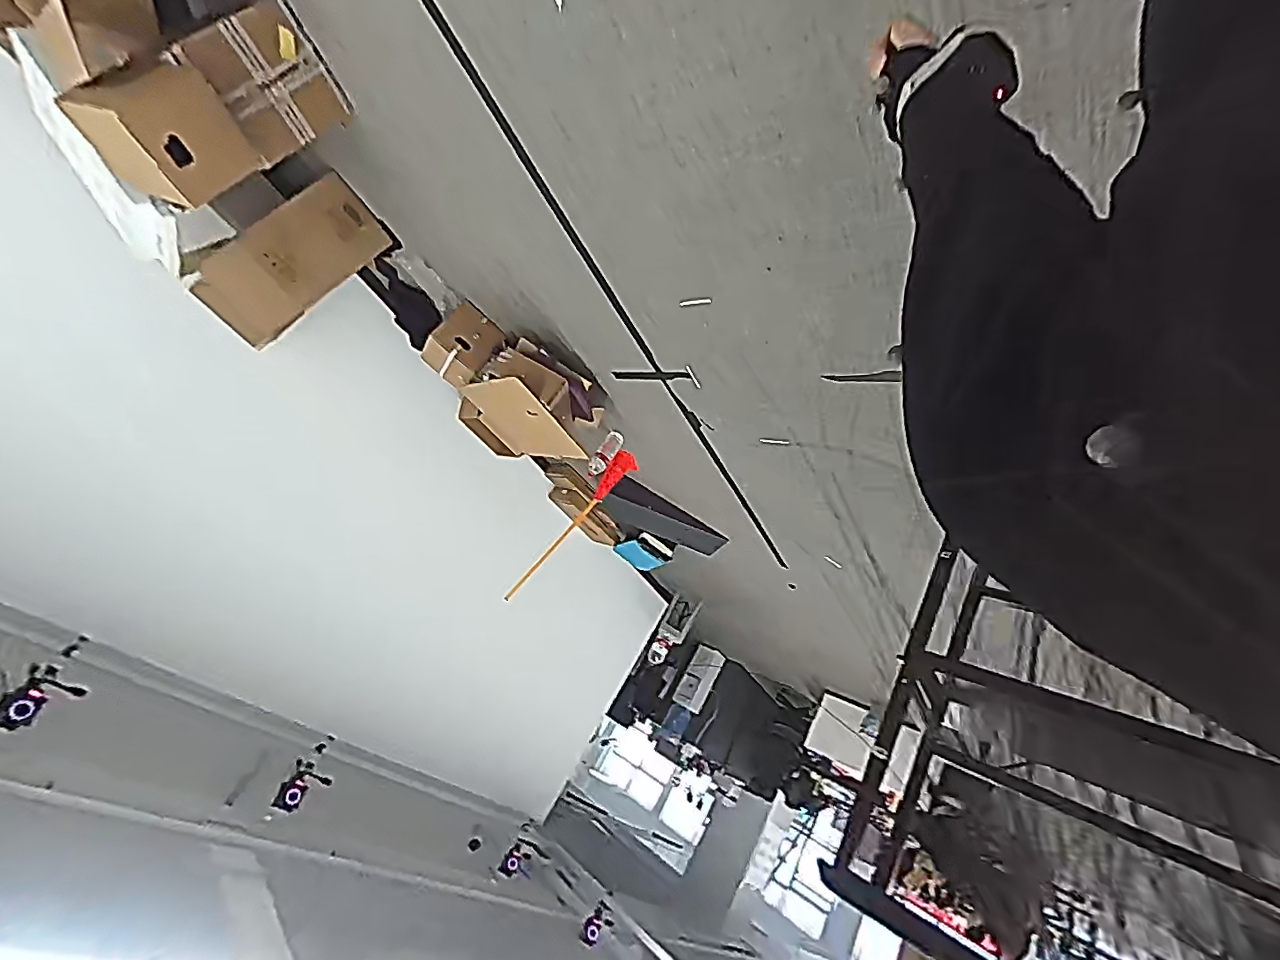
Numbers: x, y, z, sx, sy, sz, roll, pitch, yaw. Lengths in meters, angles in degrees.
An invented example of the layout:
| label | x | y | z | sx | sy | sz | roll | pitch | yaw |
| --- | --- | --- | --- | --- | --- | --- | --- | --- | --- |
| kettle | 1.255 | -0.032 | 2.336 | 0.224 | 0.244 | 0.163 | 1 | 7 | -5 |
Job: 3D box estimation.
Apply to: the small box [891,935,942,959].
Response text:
| label | x | y | z | sx | sy | sz | roll | pitch | yaw |
| --- | --- | --- | --- | --- | --- | --- | --- | --- | --- |
| small box | 0.772 | 1.377 | 1.458 | 0.168 | 0.176 | 0.179 | 10 | 149 | 43 |
